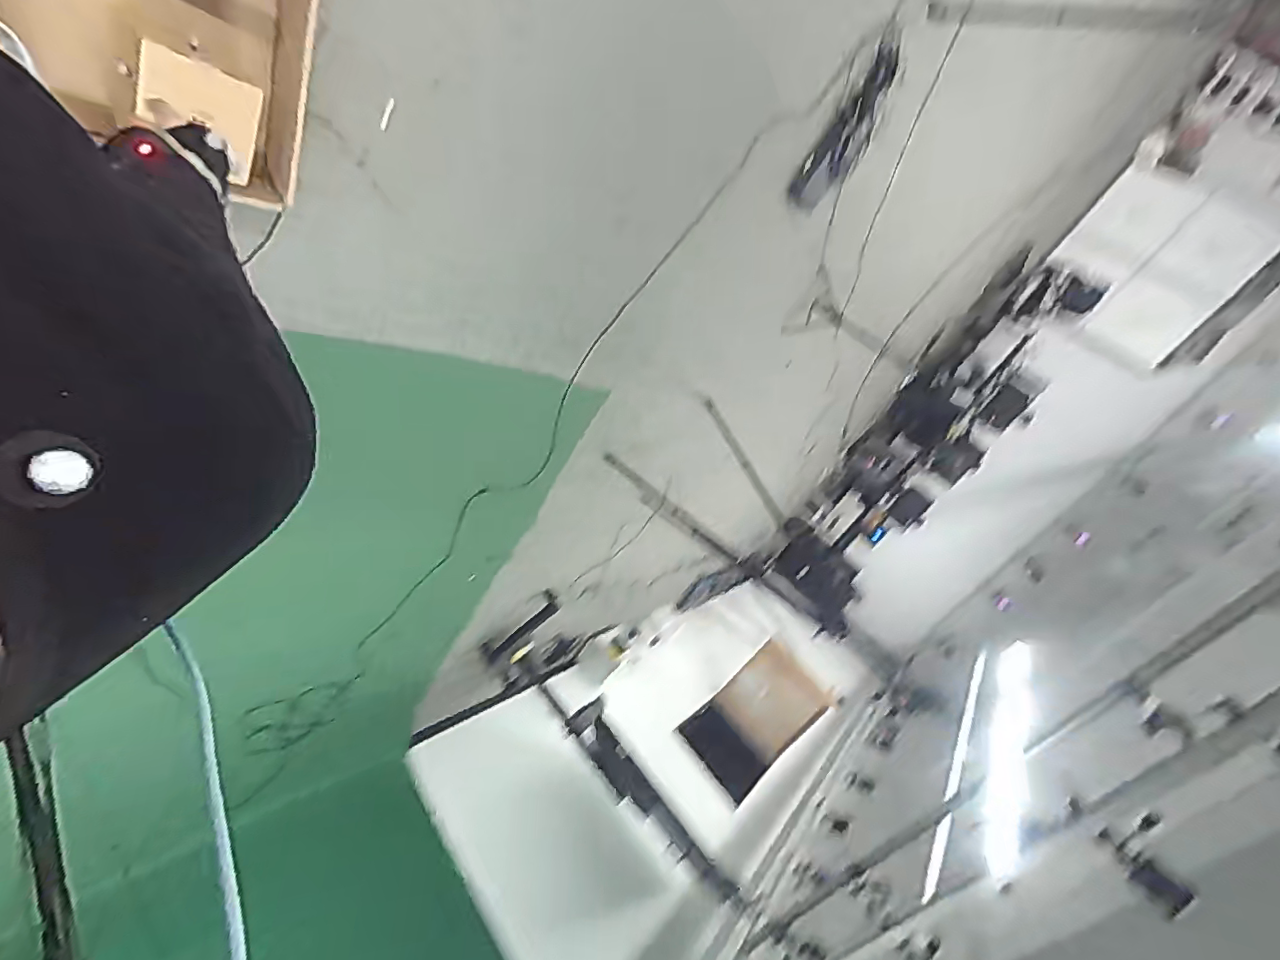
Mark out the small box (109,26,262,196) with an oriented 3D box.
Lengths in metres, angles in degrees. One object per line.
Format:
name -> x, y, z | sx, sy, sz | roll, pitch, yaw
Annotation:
small box -> -0.810, -0.652, 0.960 | 0.168, 0.176, 0.179 | -5, 134, -53
